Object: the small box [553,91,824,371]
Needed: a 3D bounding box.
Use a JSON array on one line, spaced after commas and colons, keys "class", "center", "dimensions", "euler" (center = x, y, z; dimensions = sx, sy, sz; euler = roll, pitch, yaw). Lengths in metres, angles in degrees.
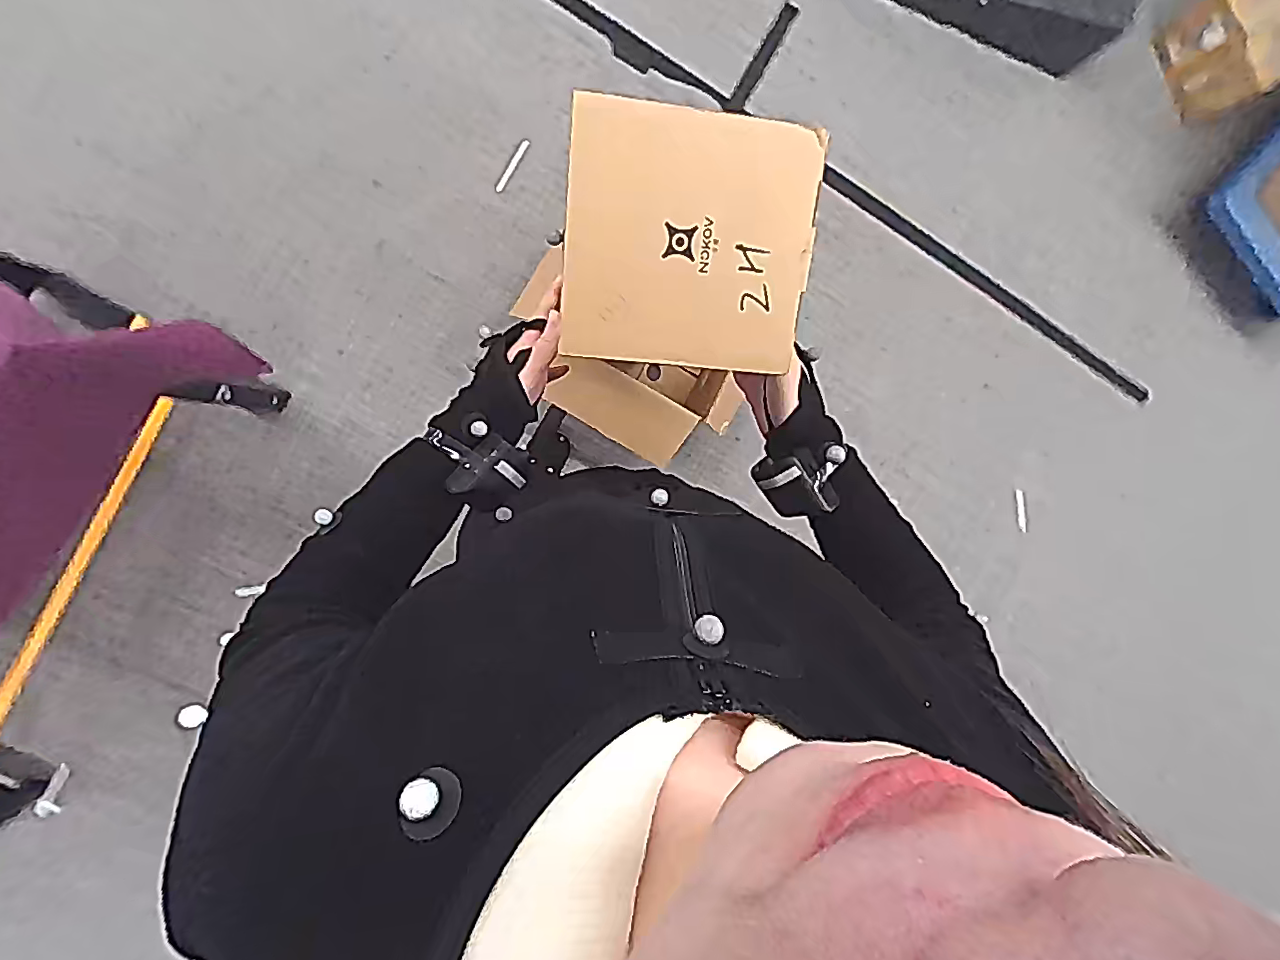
[{"class": "small box", "center": [0.022, -0.185, 0.448], "dimensions": [0.179, 0.176, 0.168], "euler": [2, 106, -9]}]
